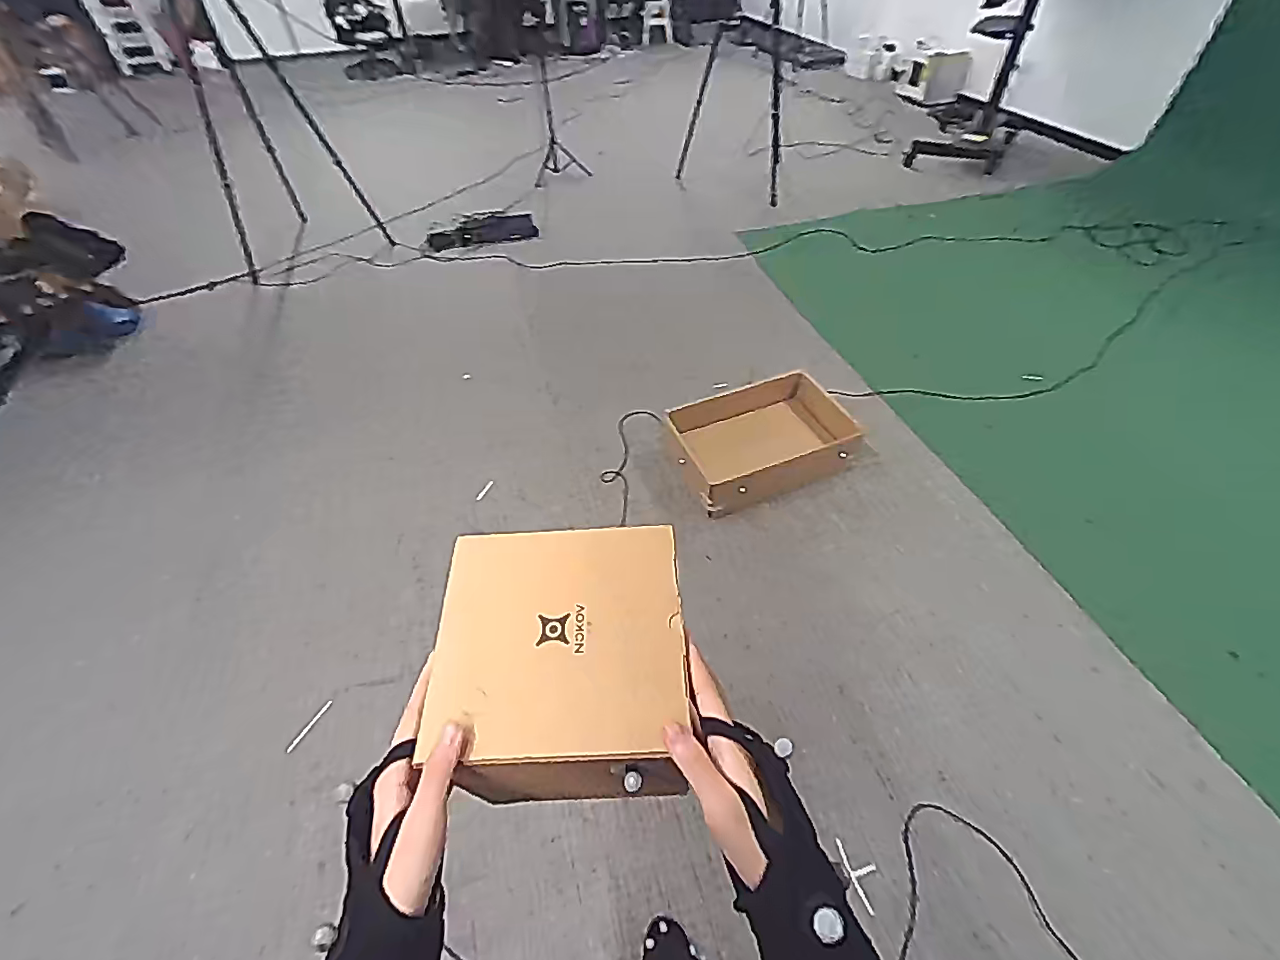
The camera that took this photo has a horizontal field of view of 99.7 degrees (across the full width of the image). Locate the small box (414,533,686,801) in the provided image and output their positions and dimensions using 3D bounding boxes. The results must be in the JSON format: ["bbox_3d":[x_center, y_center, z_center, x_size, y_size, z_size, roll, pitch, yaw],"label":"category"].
[{"bbox_3d":[-0.054,0.160,0.448,0.179,0.176,0.168,-2,52,1],"label":"small box"}]
